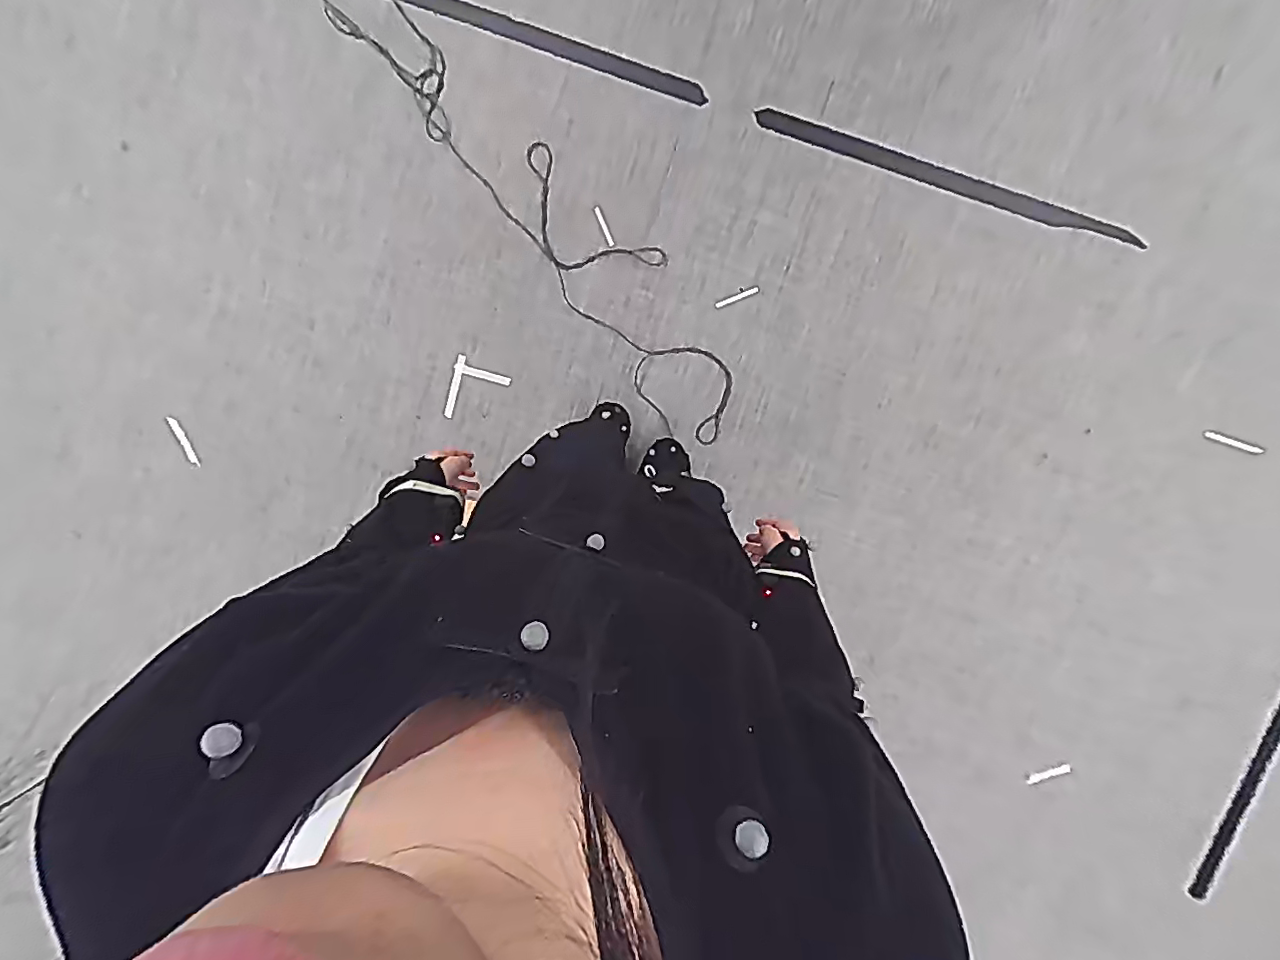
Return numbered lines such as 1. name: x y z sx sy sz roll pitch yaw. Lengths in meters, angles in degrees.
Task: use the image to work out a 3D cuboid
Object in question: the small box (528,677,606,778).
1. small box: -0.189 0.654 1.452 0.168 0.176 0.179 12 95 0
